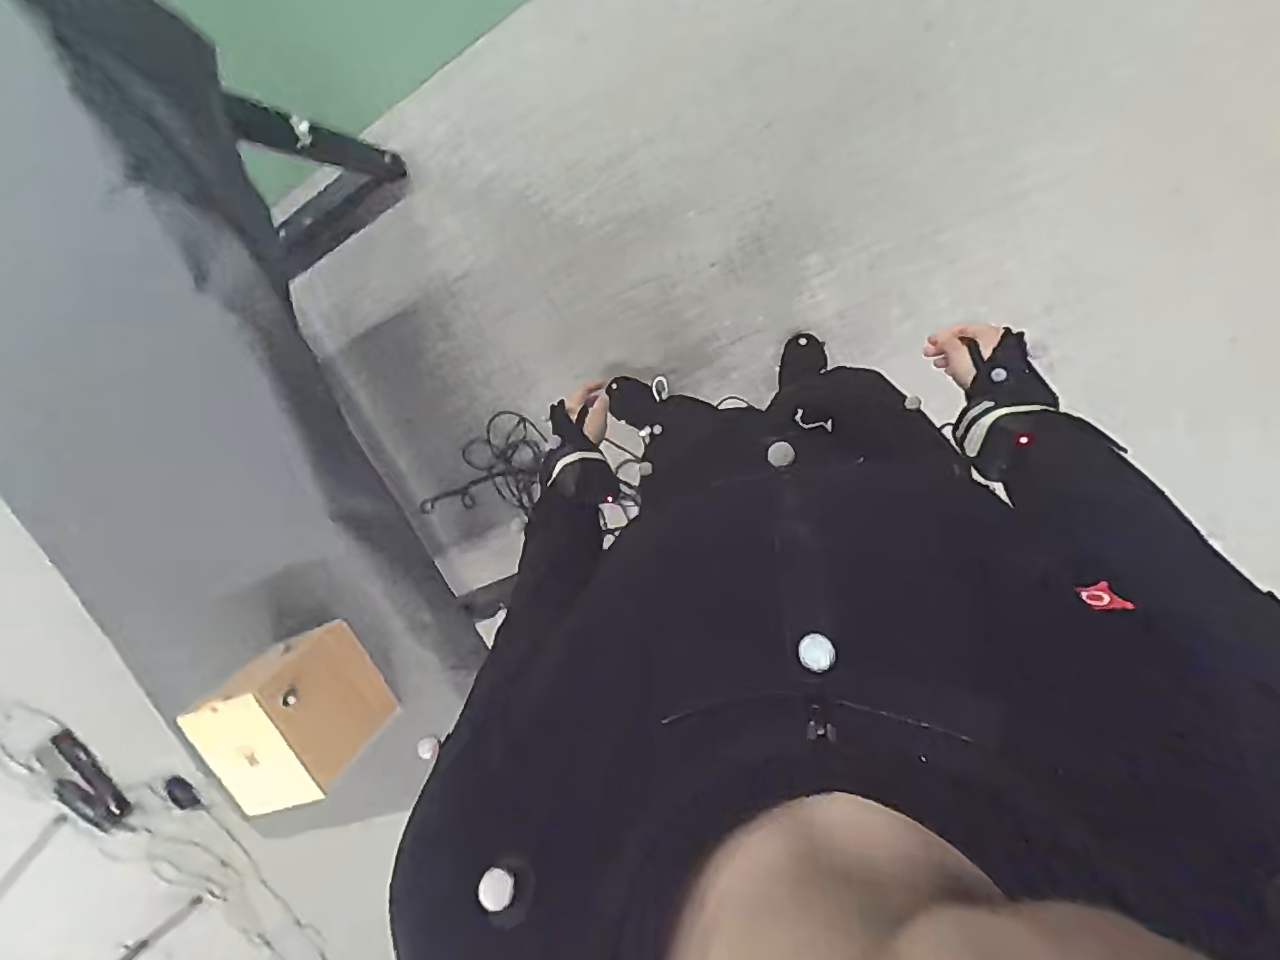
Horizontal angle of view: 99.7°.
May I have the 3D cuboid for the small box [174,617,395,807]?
[{"bbox_3d":[-0.502,0.332,0.791,0.168,0.176,0.179,-23,103,20],"label":"small box"}]
